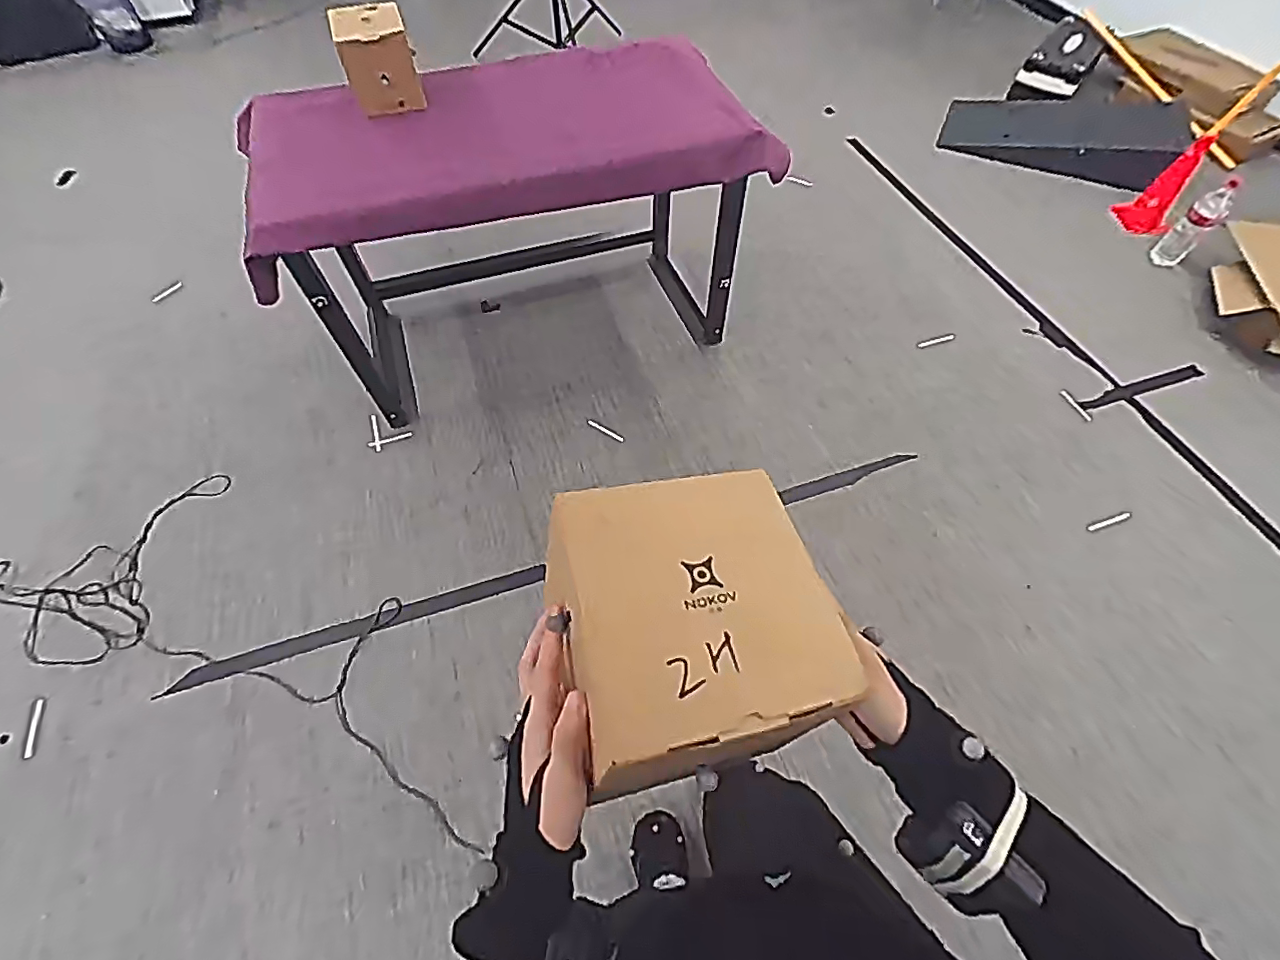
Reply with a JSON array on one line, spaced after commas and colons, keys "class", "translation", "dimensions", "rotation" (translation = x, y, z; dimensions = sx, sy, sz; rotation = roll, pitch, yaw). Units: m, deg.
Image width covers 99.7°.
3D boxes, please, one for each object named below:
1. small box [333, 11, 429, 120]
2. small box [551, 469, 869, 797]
[{"class": "small box", "translation": [-0.655, -1.048, 1.379], "dimensions": [0.168, 0.176, 0.179], "rotation": [-17, 62, -11]}, {"class": "small box", "translation": [0.027, 0.116, 0.413], "dimensions": [0.168, 0.176, 0.179], "rotation": [-7, 55, -16]}]
